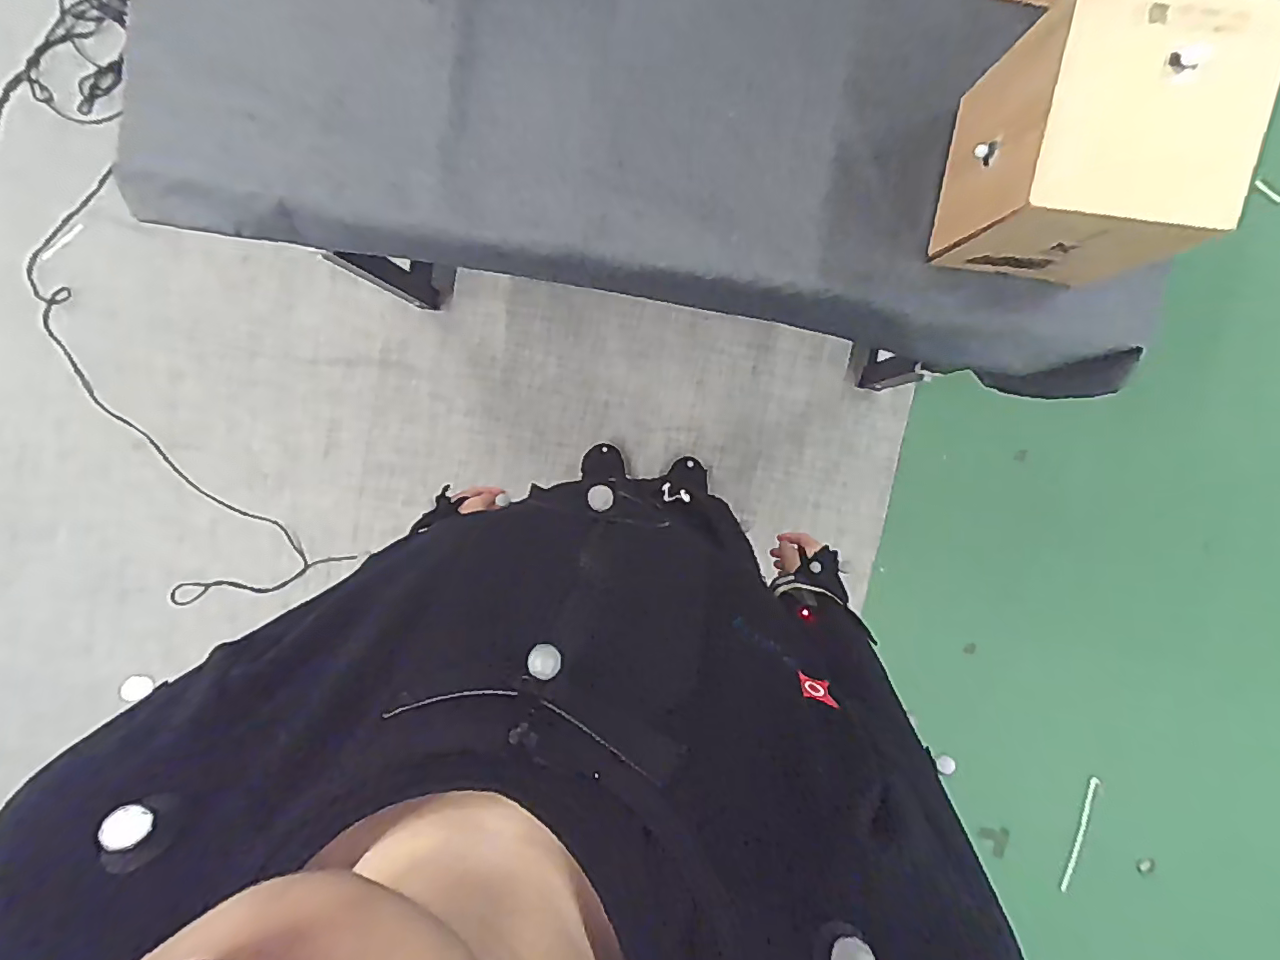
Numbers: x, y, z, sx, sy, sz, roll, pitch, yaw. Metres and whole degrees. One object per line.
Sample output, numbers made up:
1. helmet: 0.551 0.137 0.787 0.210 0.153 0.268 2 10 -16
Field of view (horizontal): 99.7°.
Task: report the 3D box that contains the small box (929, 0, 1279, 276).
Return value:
1. small box: 0.407 -0.305 0.500 0.168 0.179 0.176 8 99 2
